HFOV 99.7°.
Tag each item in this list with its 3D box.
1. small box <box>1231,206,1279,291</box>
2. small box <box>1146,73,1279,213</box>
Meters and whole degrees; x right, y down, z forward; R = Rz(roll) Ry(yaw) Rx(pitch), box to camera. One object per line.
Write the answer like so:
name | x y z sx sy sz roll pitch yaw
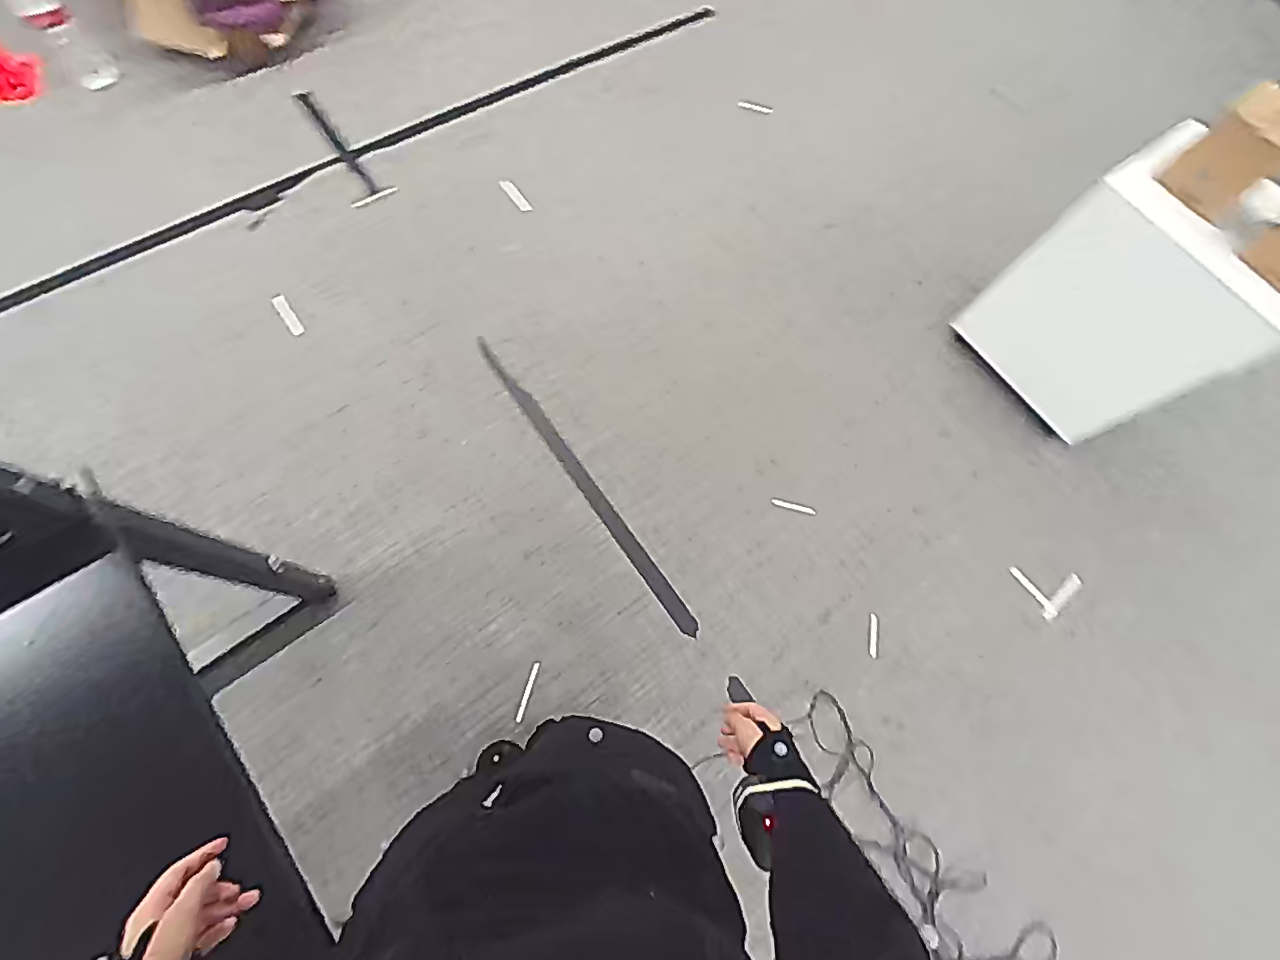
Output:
small box | 1.425 -0.527 1.135 0.179 0.176 0.168 -33 76 -15
small box | 1.291 -0.737 1.194 0.179 0.176 0.168 -36 78 -17
